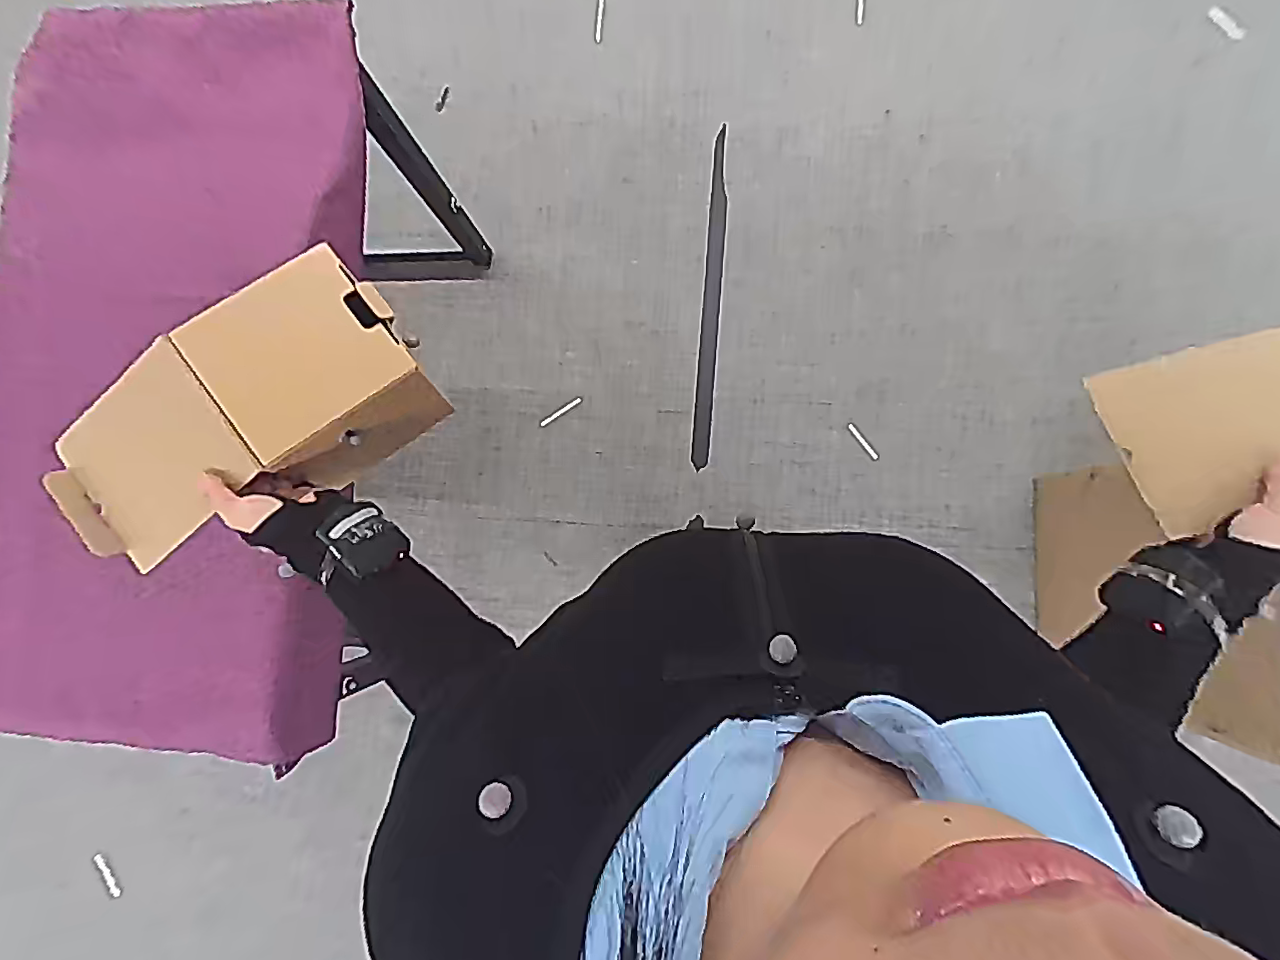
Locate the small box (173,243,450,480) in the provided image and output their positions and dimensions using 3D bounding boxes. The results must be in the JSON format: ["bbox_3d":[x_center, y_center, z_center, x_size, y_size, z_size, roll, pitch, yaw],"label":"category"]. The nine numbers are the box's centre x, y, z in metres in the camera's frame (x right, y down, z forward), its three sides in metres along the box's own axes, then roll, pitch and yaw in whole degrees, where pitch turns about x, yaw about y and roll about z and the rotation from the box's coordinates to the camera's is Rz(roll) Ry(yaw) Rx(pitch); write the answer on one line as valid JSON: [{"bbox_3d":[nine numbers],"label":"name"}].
[{"bbox_3d":[-0.347,-0.118,0.612,0.179,0.176,0.168,-37,88,-9],"label":"small box"}]
